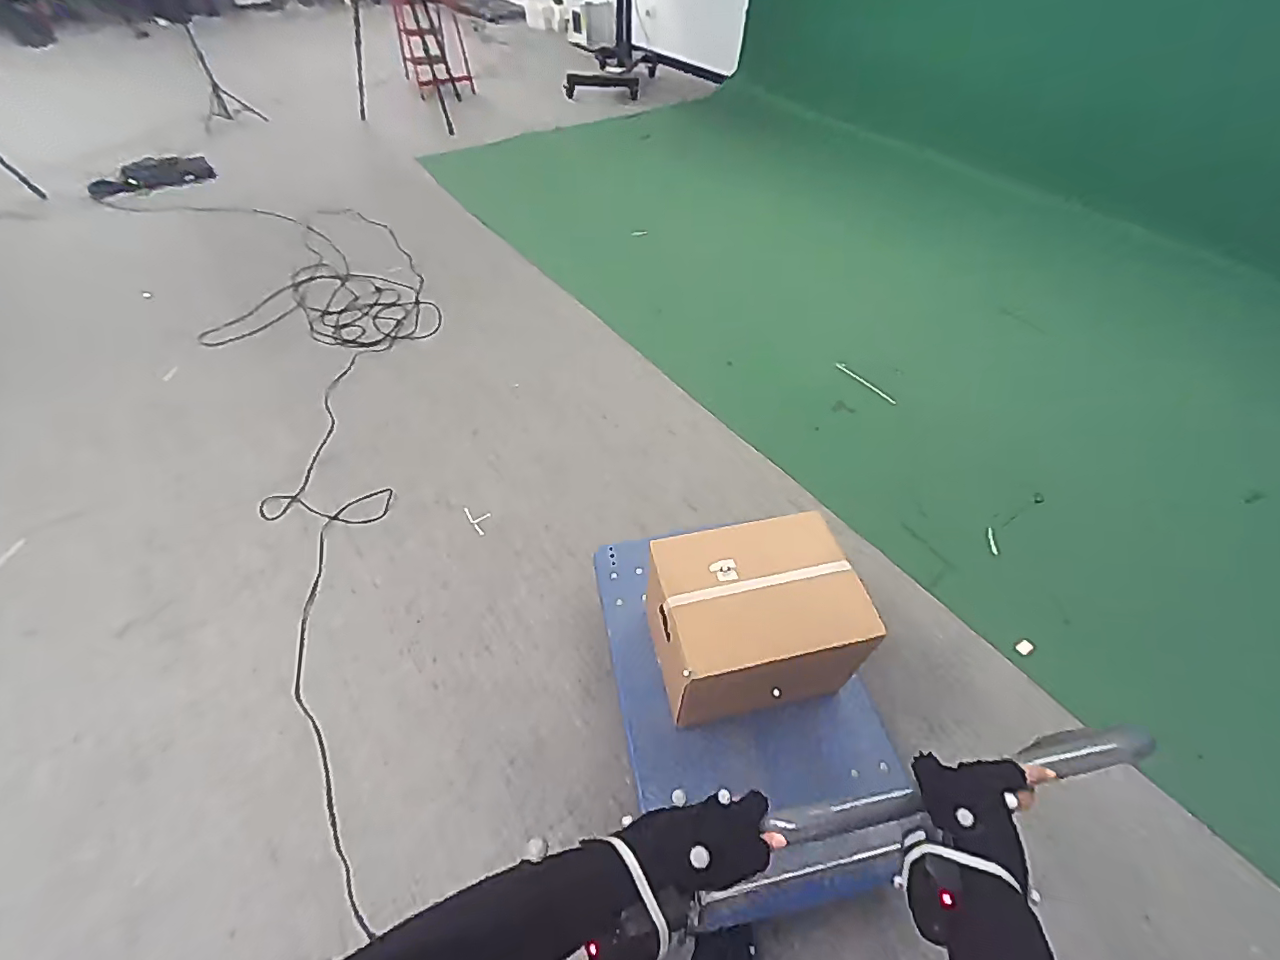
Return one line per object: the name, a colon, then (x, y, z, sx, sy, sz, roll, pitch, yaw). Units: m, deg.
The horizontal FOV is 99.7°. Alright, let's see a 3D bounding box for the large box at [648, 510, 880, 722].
large box: (0.248, 0.313, 1.237, 0.408, 0.320, 0.320, -10, 51, -9)
